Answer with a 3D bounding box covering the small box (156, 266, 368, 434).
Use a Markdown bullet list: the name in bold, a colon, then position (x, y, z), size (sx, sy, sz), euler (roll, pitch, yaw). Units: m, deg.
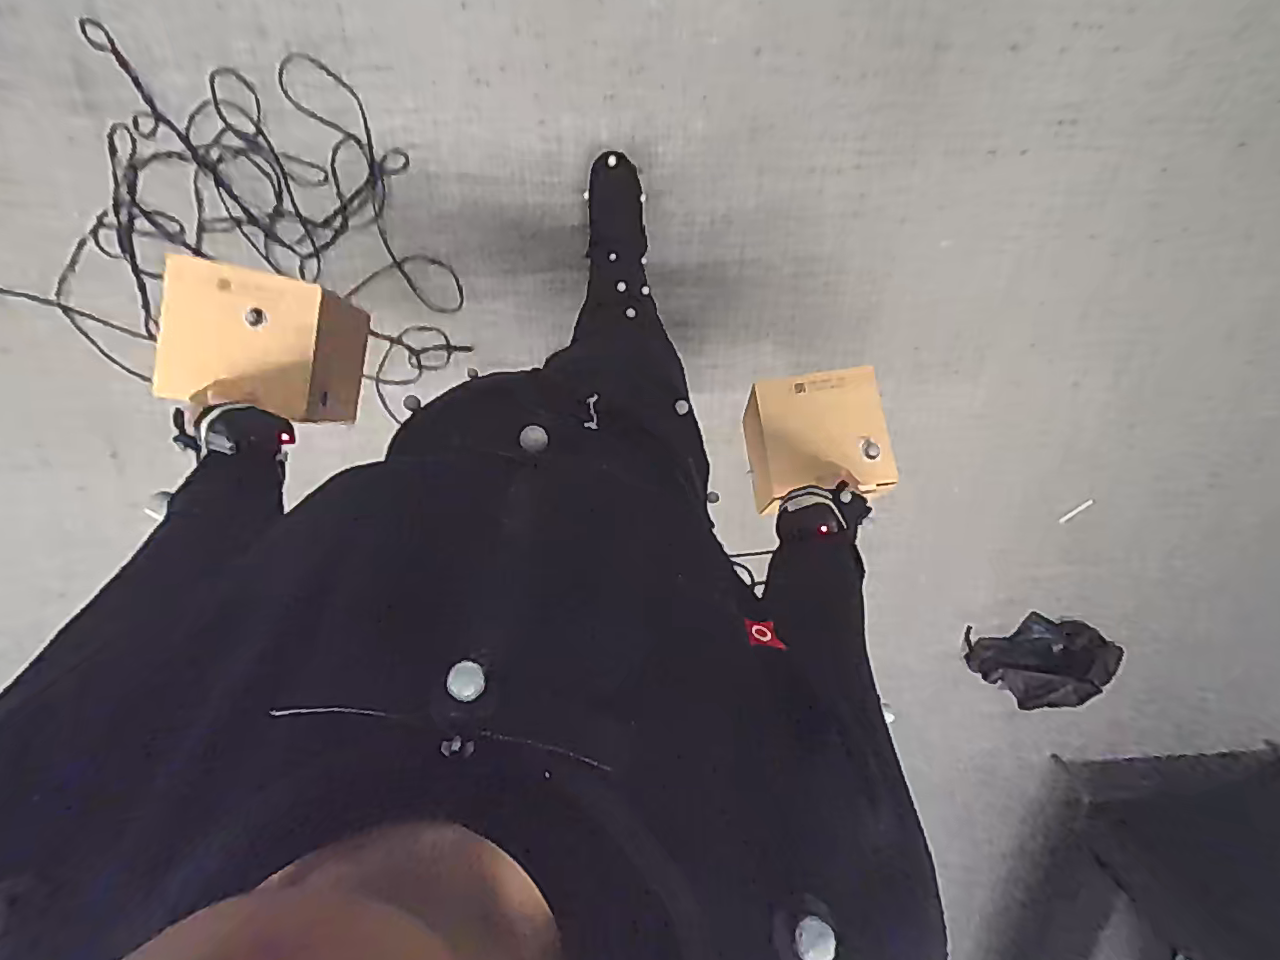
- **small box**: position (-0.482, -0.160, 0.718), size (0.168, 0.179, 0.176), euler (10, 92, -11)
